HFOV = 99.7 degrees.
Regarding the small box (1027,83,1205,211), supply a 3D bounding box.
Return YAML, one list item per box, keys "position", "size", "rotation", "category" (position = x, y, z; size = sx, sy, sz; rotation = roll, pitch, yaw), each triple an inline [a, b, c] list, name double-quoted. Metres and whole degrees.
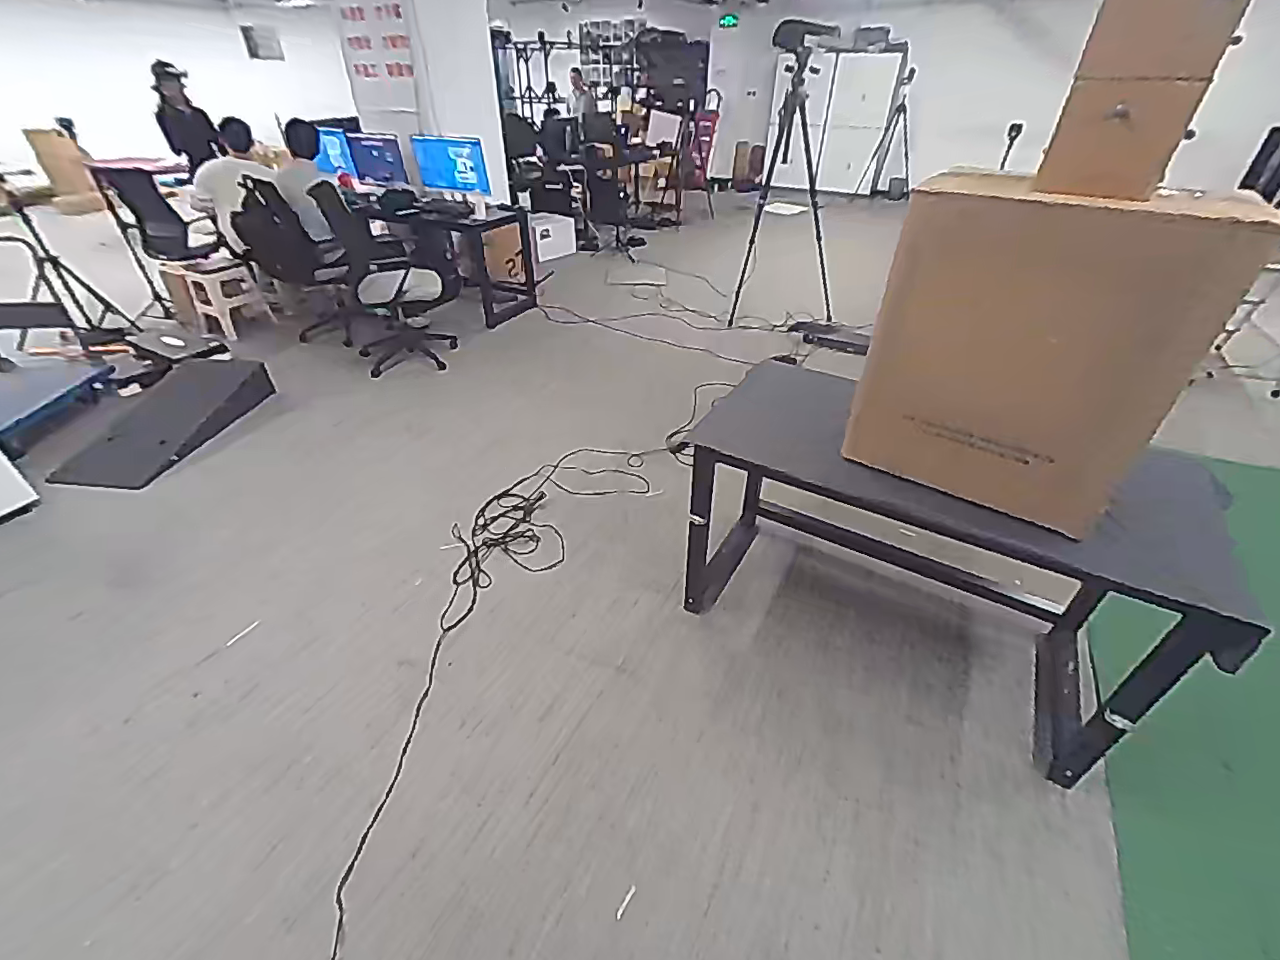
- position: [0.814, -0.575, 0.936]
  size: [0.179, 0.176, 0.168]
  rotation: [24, 45, 29]
  category: "small box"
